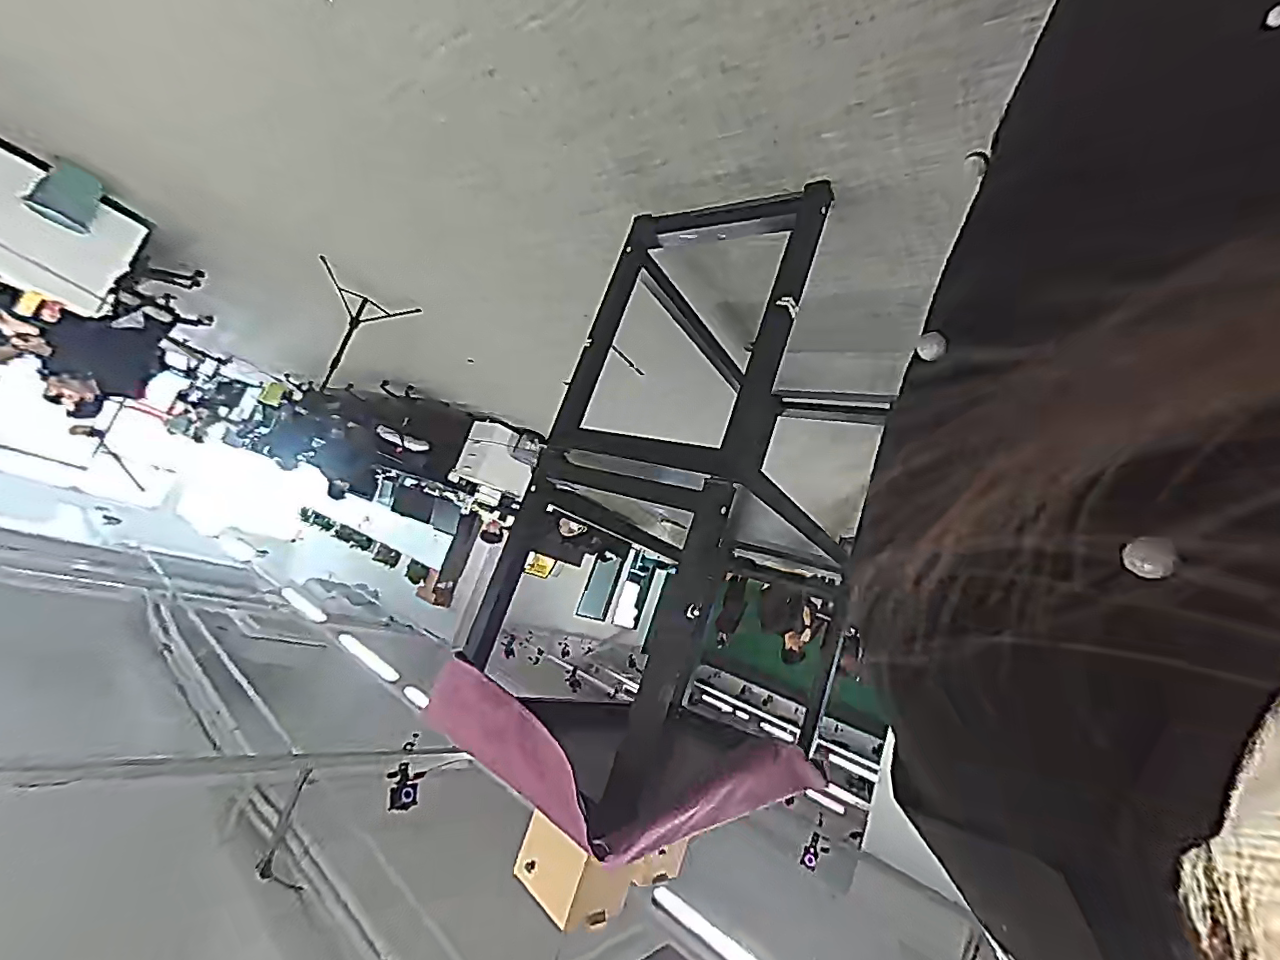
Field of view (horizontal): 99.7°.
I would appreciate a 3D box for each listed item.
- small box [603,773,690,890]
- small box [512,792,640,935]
[{"bbox_3d":[0.006,0.850,1.327,0.179,0.176,0.168,11,167,42],"label":"small box"},{"bbox_3d":[-0.128,0.770,1.113,0.179,0.176,0.168,10,168,44],"label":"small box"}]
